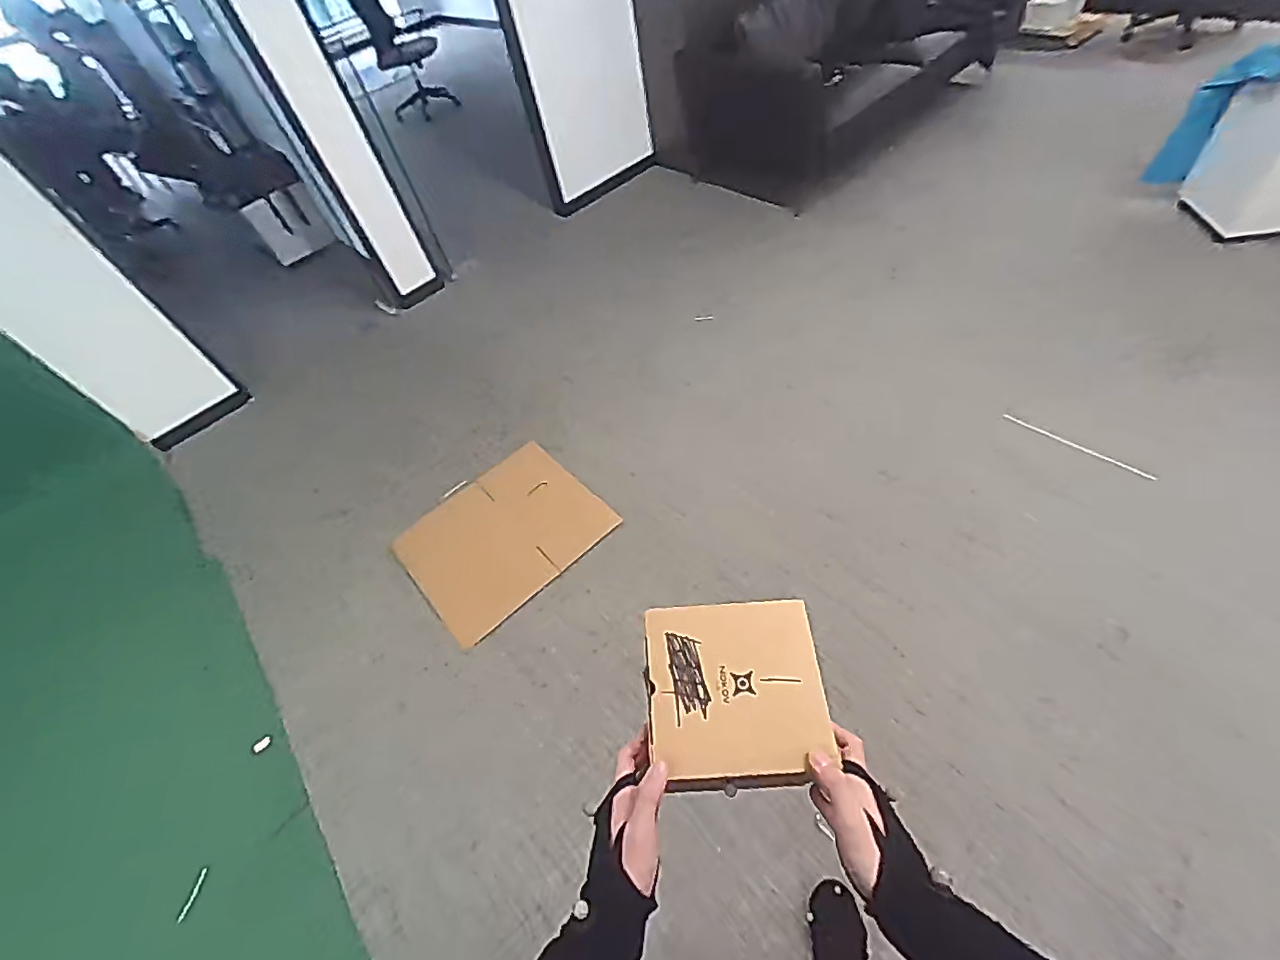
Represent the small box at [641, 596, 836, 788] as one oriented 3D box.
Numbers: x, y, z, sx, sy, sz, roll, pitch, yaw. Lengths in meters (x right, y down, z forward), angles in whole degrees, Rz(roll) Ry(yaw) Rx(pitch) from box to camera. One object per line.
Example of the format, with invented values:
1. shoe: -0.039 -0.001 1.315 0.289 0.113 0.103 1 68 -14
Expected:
1. small box: 0.097 0.244 0.610 0.179 0.176 0.168 -4 56 1
